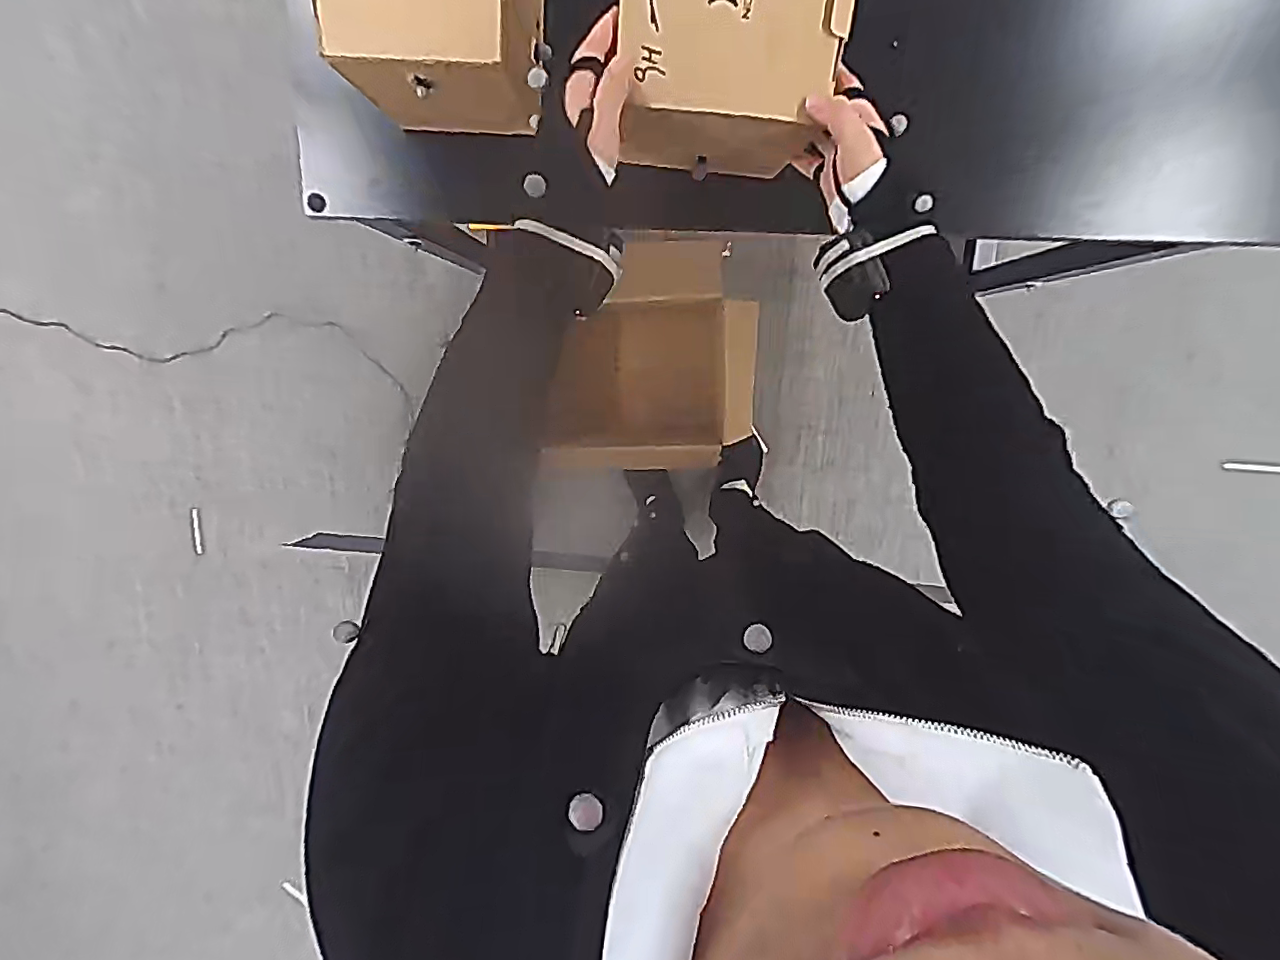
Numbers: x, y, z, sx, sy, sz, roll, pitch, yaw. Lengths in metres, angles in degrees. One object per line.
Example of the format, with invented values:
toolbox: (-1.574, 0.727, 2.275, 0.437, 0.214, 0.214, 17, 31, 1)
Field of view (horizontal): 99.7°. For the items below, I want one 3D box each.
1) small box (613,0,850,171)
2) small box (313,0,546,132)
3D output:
small box: (0.070, -0.392, 0.482, 0.179, 0.176, 0.168, 4, 106, -4)
small box: (-0.201, -0.478, 0.549, 0.179, 0.176, 0.168, 3, 104, 1)
